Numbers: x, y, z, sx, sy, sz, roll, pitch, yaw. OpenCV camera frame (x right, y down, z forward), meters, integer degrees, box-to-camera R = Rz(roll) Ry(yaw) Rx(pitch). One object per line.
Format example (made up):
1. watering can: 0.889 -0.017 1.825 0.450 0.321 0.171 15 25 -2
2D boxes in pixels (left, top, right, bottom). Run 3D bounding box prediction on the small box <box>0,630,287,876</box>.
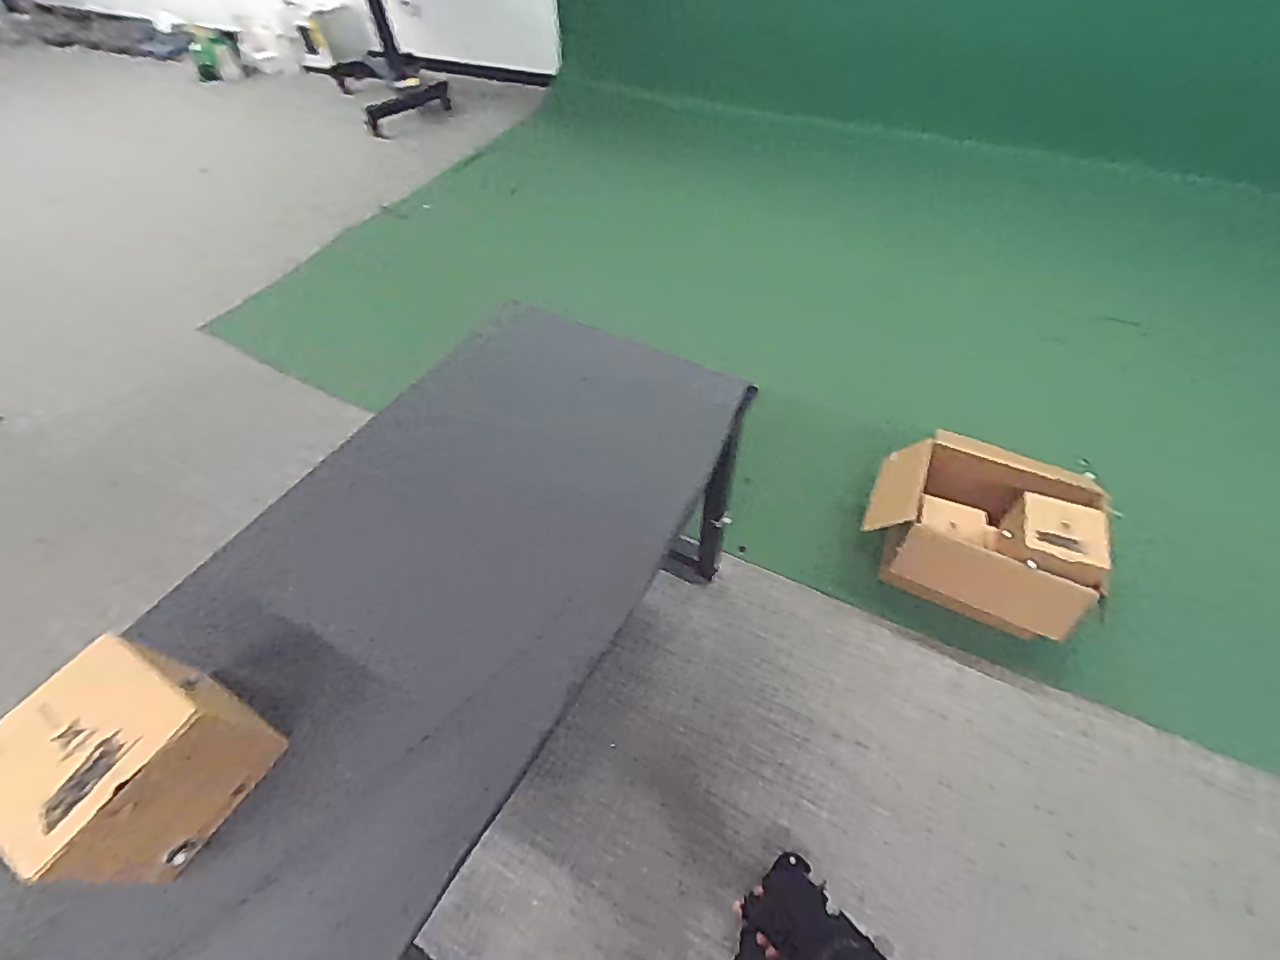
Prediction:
1. small box: -0.552 0.305 0.606 0.179 0.176 0.168 23 57 20
